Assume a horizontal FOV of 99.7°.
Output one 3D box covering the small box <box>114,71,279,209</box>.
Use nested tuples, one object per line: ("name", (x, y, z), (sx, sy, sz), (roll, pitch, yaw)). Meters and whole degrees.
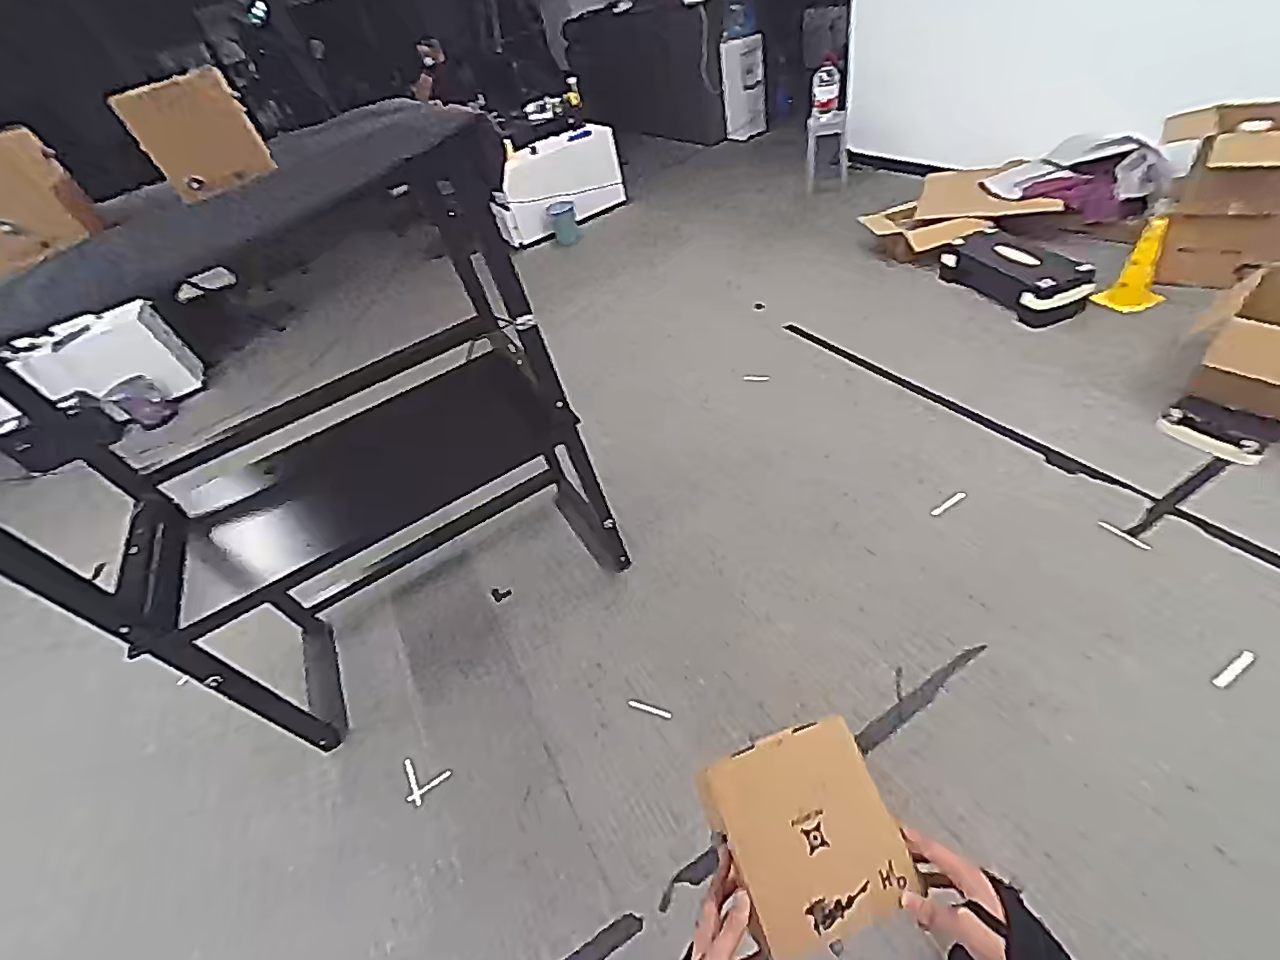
("small box", (-0.795, -0.619, 0.990), (0.168, 0.176, 0.179), (-31, 45, -15))

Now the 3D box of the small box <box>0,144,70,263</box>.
("small box", (-1.262, -0.522, 1.031), (0.179, 0.176, 0.168), (-32, 46, -16))

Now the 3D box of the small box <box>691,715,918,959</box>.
("small box", (0.167, 0.398, 0.621), (0.168, 0.176, 0.179), (-17, 60, -10))
